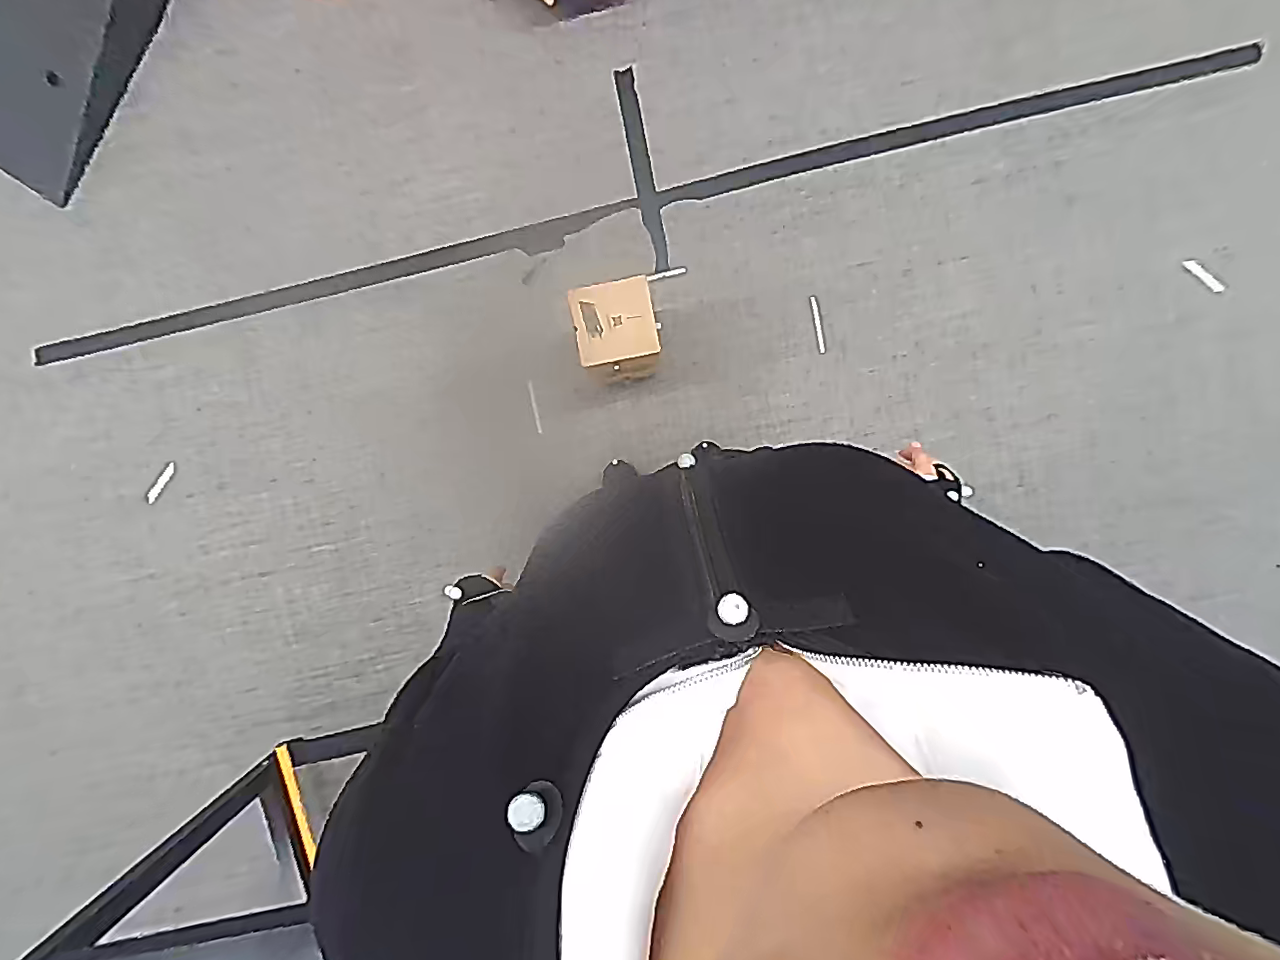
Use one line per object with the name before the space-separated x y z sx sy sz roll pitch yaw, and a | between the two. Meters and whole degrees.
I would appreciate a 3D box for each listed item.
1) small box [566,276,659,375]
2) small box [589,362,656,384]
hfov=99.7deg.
small box | -0.055 -0.338 1.217 0.179 0.176 0.168 -11 95 2
small box | -0.053 -0.345 1.383 0.168 0.176 0.179 -10 95 2
